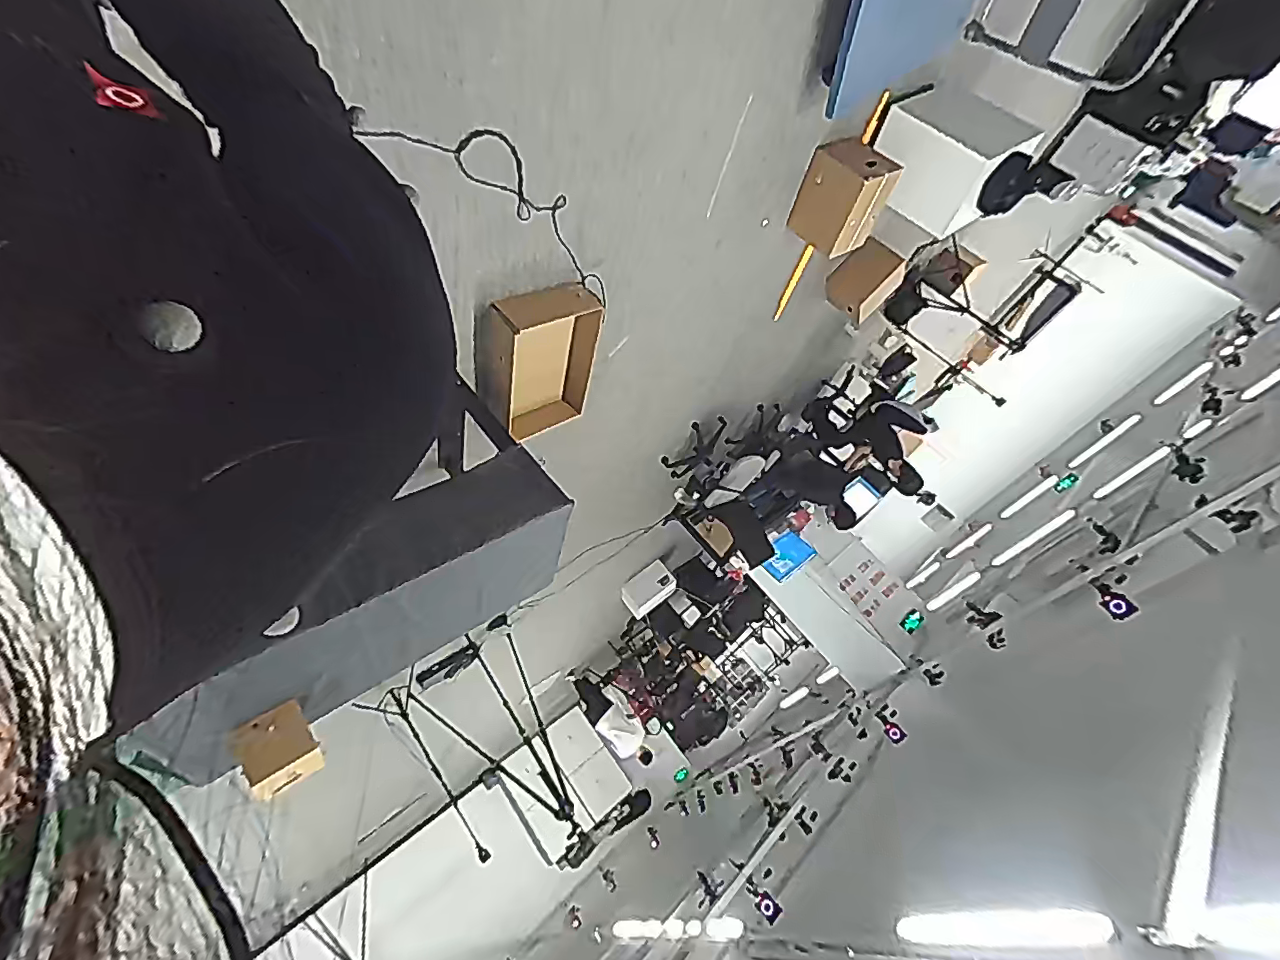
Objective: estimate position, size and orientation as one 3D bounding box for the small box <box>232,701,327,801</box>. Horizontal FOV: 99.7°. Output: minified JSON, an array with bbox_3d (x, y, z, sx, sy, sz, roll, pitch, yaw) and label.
[{"bbox_3d":[-1.004,0.752,1.511,0.168,0.176,0.179,-26,153,-38],"label":"small box"}]
